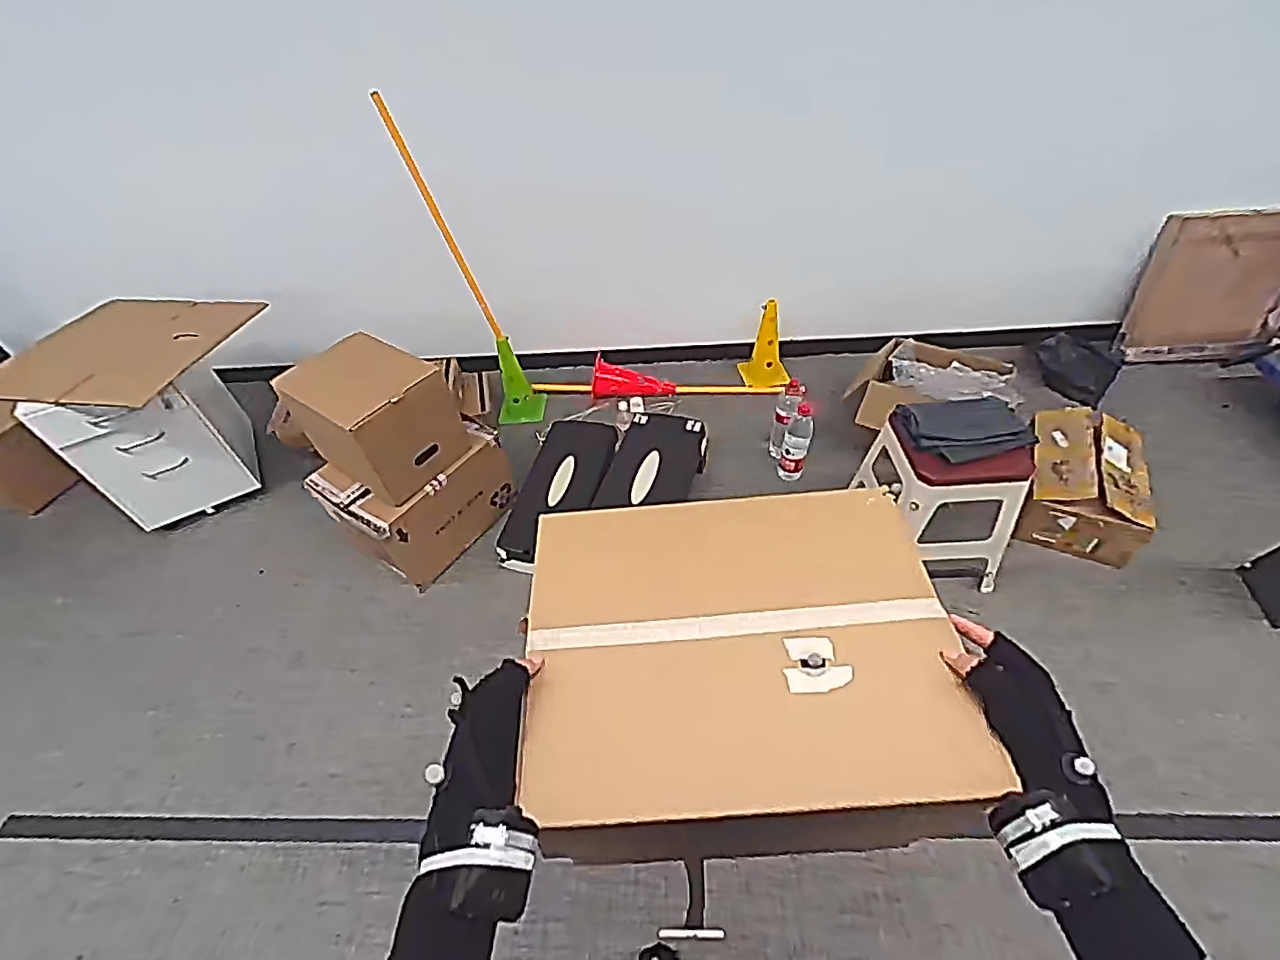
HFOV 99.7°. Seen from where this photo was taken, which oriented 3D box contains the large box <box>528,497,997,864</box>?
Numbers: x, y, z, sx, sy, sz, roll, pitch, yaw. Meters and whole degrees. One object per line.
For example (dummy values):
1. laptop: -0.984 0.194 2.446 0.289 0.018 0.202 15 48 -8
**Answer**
1. large box: 0.101 0.250 0.657 0.408 0.320 0.320 -5 50 1
